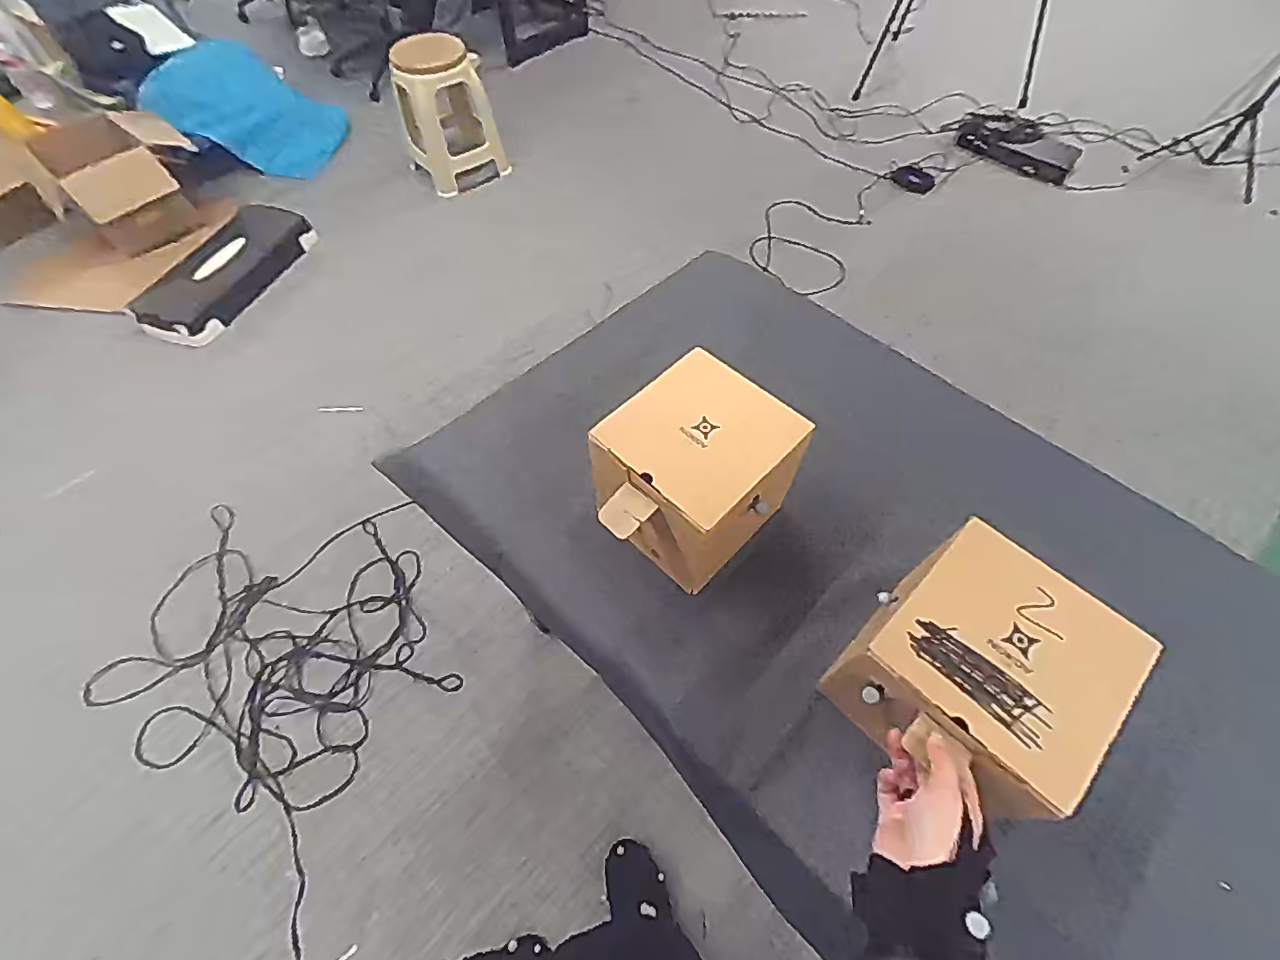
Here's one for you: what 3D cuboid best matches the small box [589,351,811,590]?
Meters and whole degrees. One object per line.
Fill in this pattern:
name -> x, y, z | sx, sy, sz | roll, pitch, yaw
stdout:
small box -> 0.061, -0.007, 0.623 | 0.168, 0.176, 0.179 | 40, 67, 21
